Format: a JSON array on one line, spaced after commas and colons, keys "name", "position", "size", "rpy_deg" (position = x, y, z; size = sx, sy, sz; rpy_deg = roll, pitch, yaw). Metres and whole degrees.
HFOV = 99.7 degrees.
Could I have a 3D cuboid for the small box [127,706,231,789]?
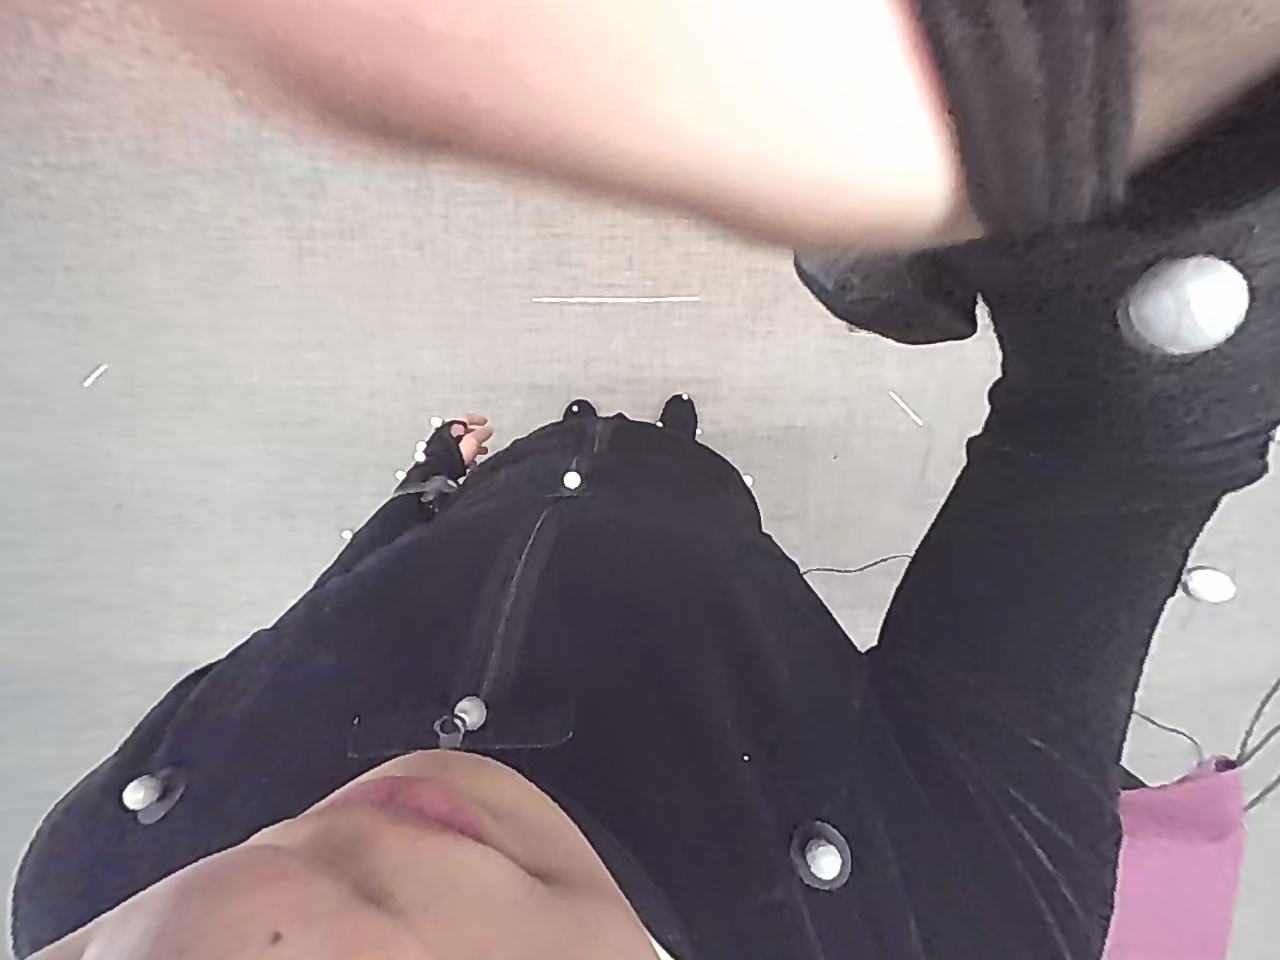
[{"name": "small box", "position": [-1.404, 0.816, 1.664], "size": [0.179, 0.176, 0.168], "rpy_deg": [-4, 97, 2]}]
